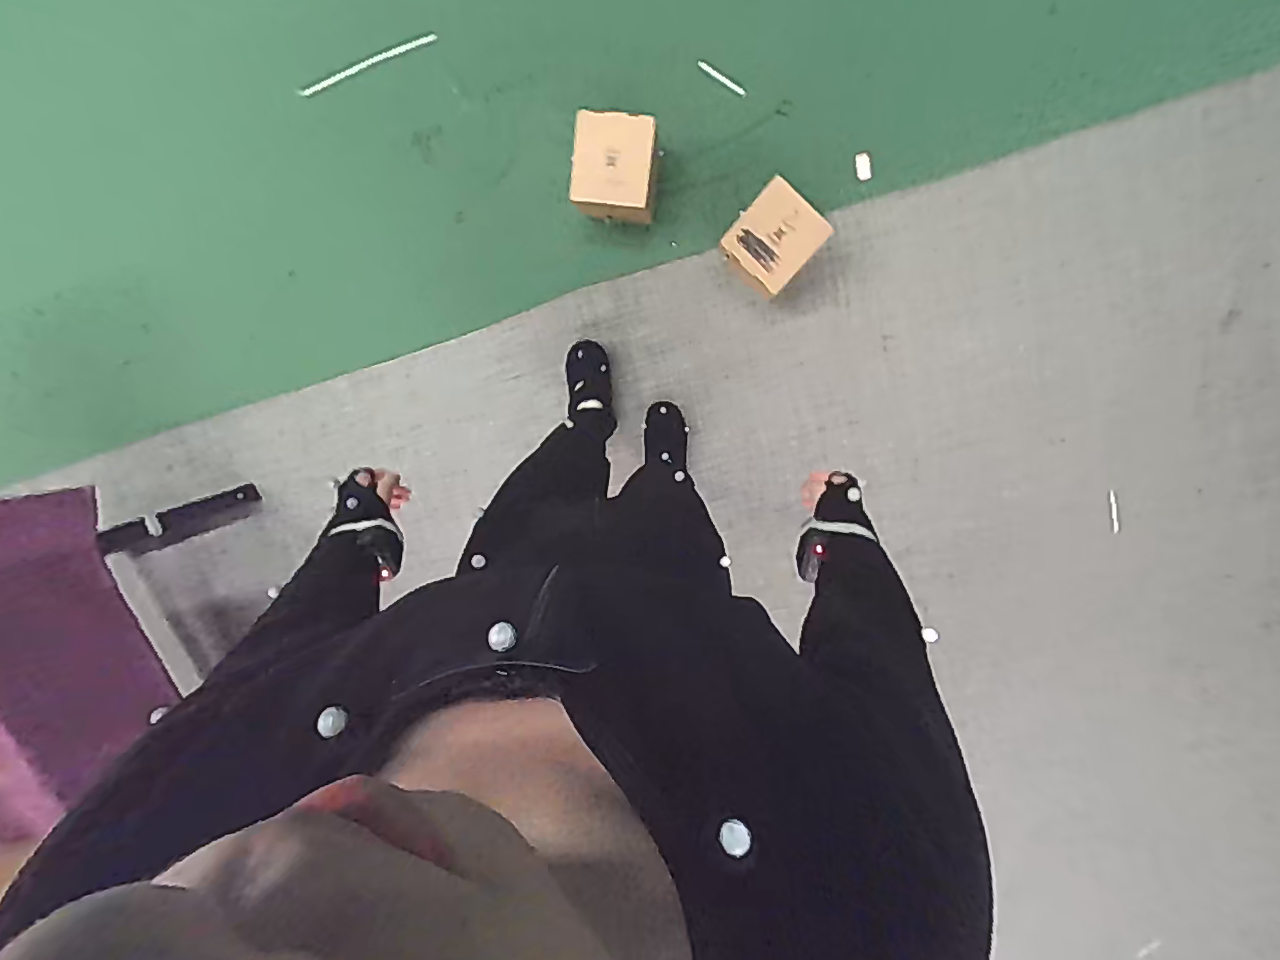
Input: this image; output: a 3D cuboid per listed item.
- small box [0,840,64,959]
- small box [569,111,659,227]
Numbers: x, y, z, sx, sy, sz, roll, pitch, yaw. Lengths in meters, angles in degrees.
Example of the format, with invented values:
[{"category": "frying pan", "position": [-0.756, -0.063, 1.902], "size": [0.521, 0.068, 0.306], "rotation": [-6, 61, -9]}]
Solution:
[{"category": "small box", "position": [-1.204, 0.784, 0.958], "size": [0.168, 0.176, 0.179], "rotation": [-13, 102, 10]}, {"category": "small box", "position": [-0.053, -0.692, 1.218], "size": [0.168, 0.176, 0.179], "rotation": [10, 104, 5]}]
